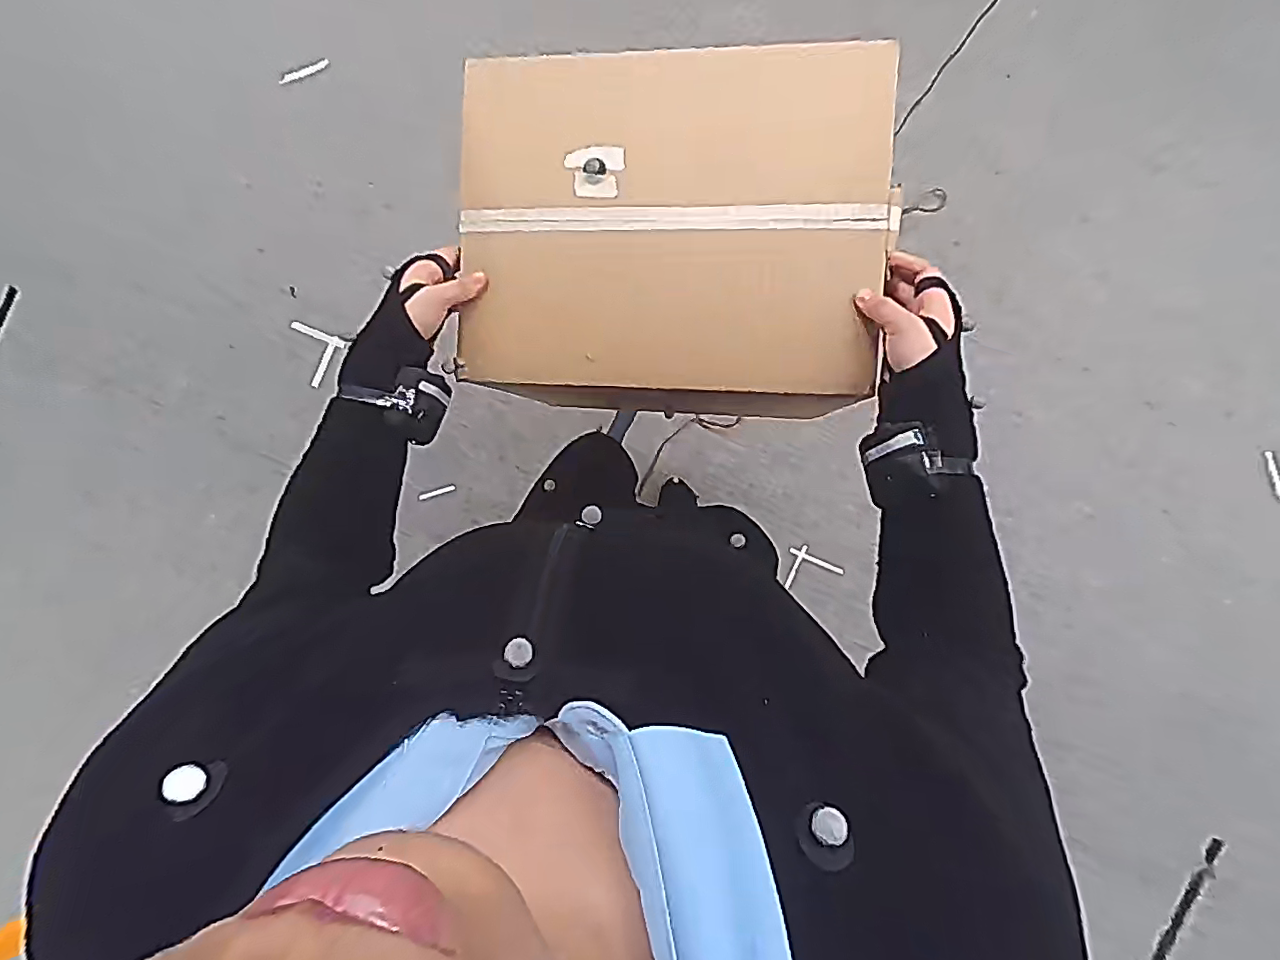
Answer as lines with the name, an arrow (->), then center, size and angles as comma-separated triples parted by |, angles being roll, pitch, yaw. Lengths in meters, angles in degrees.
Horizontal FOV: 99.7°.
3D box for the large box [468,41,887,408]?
large box -> 0.047, -0.255, 0.667 | 0.408, 0.320, 0.320 | 3, 92, 9
